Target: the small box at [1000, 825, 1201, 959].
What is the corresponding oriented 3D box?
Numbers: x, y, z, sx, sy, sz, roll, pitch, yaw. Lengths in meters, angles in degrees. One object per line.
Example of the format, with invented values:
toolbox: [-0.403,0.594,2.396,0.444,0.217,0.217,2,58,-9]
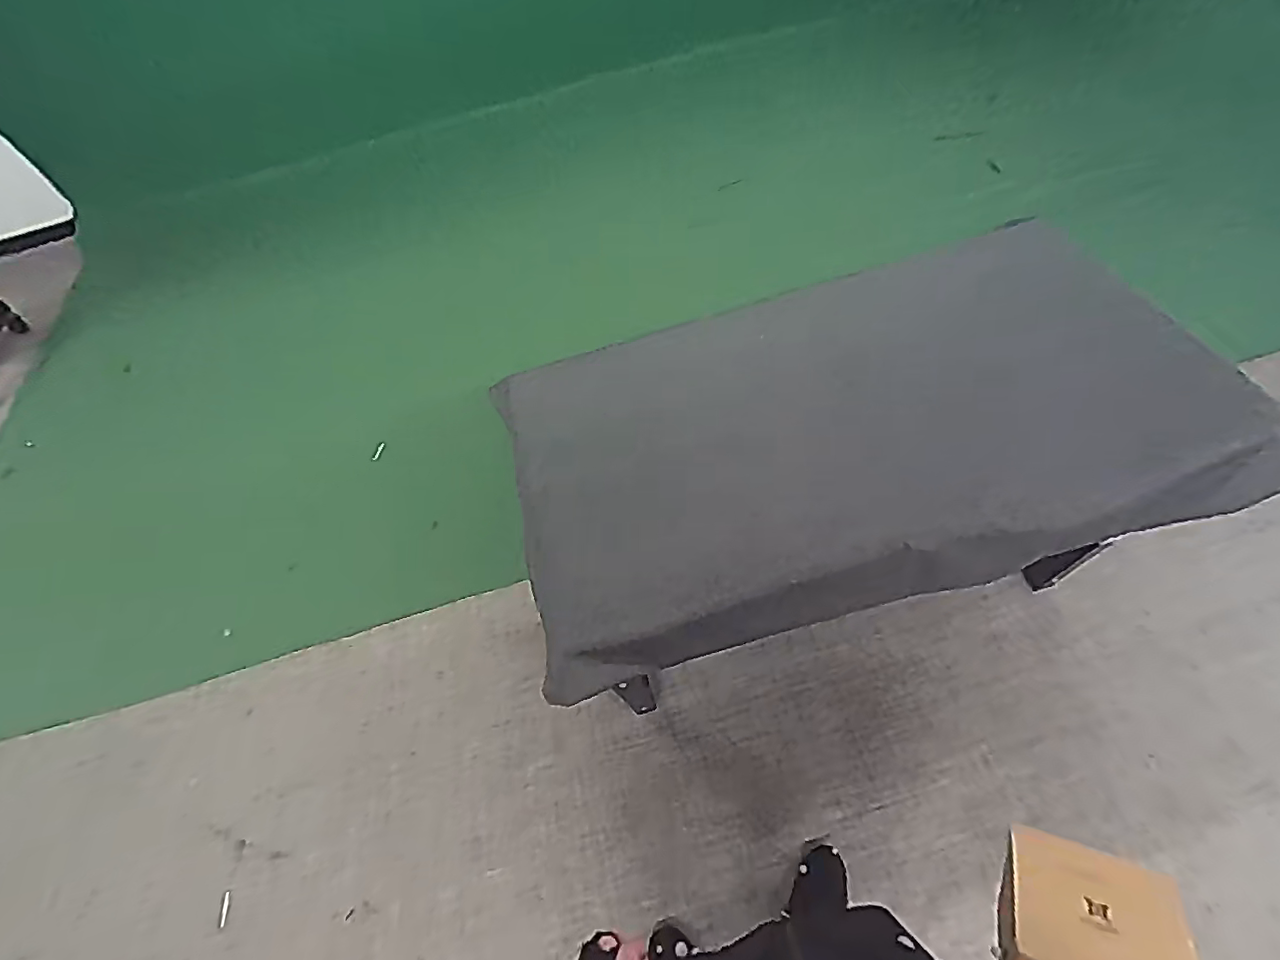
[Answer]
small box: [0.541,0.577,0.649,0.168,0.176,0.179,5,22,30]
